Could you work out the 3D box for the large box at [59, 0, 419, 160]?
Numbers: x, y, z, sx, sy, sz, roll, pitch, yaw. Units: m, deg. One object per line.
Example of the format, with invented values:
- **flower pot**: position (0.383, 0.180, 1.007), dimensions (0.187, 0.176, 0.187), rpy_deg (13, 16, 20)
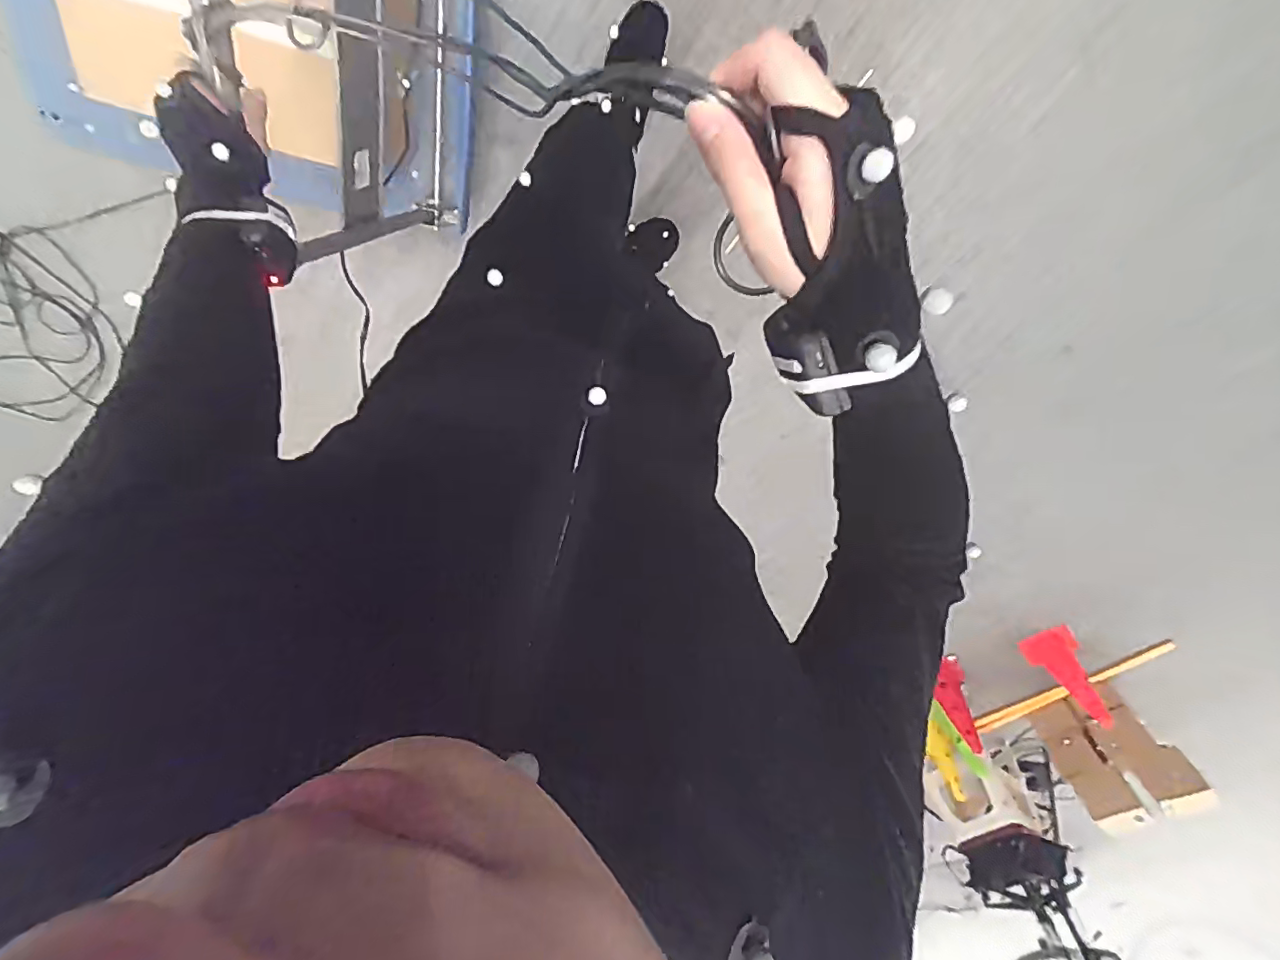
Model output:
- **large box**: position (-0.619, -0.763, 0.895), dimensions (0.408, 0.320, 0.320), rpy_deg (12, 123, -7)
